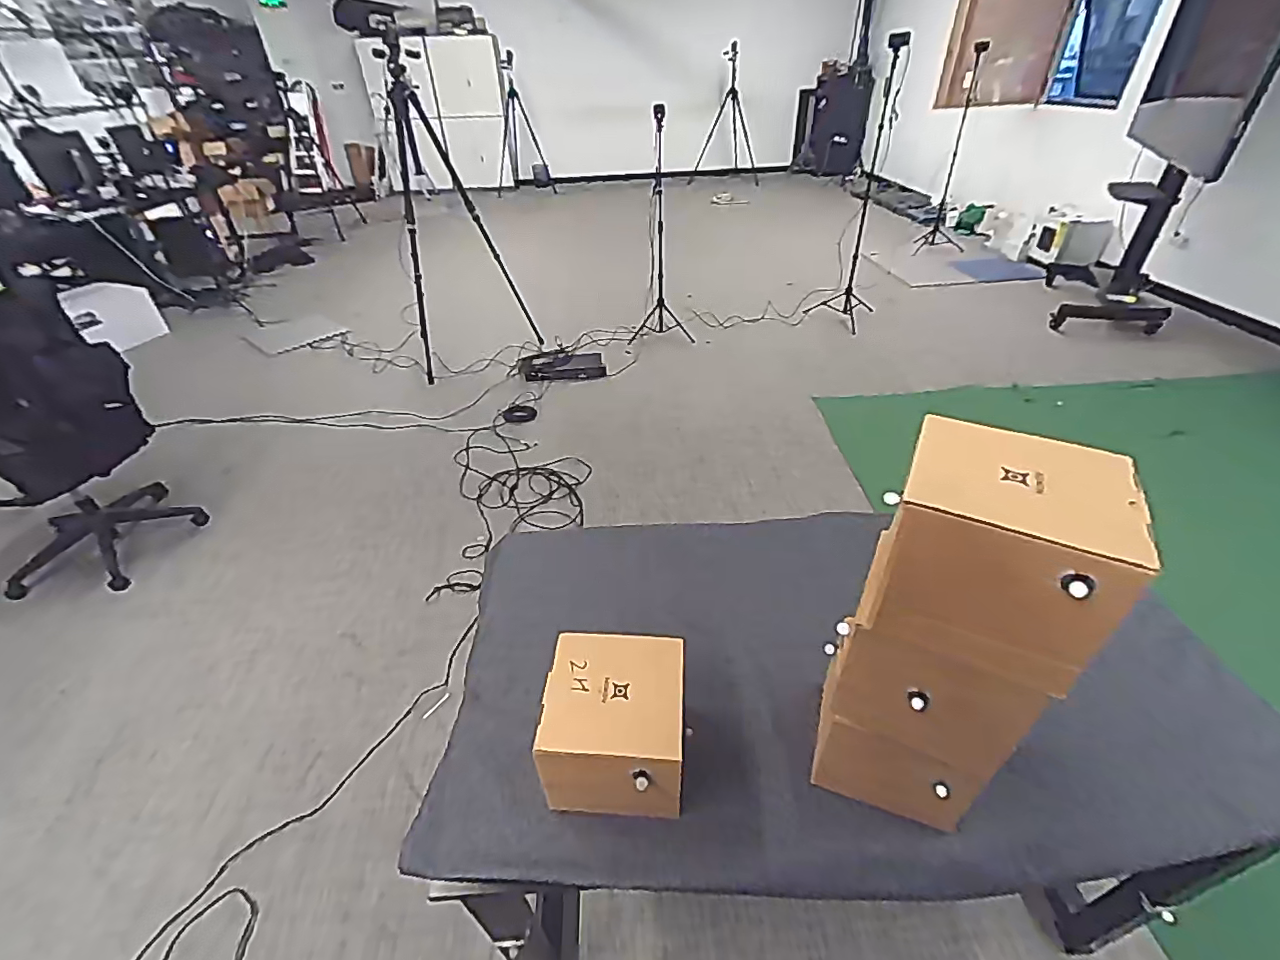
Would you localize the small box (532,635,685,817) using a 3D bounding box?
[{"bbox_3d":[-0.031,0.332,0.729,0.179,0.176,0.168,1,38,5],"label":"small box"}]

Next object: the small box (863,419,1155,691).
[{"bbox_3d":[0.330,0.066,0.518,0.179,0.176,0.168,18,41,24],"label":"small box"}]

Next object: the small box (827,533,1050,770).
[{"bbox_3d":[0.333,0.195,0.618,0.179,0.176,0.168,17,41,25],"label":"small box"}]
